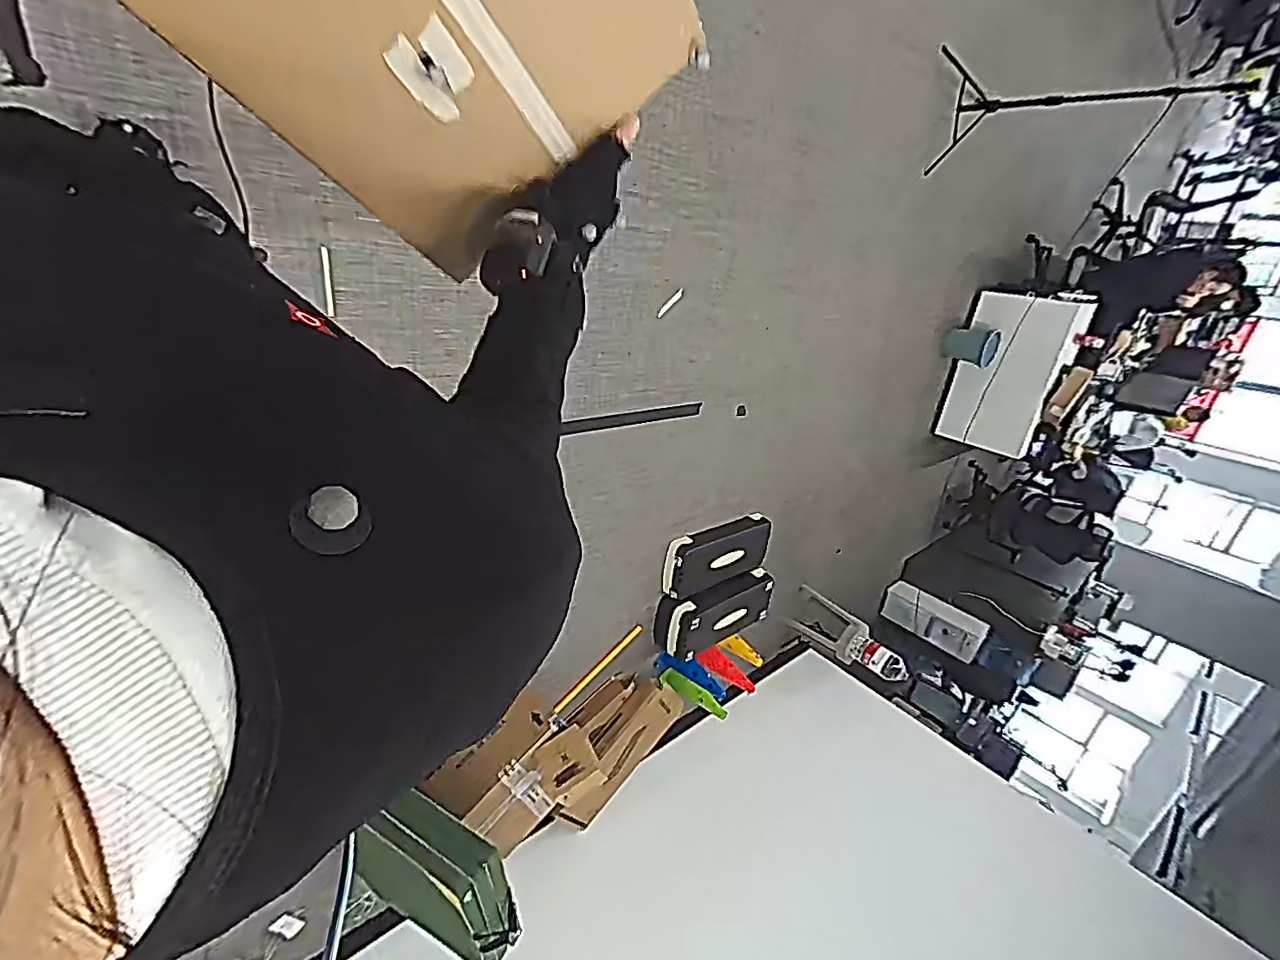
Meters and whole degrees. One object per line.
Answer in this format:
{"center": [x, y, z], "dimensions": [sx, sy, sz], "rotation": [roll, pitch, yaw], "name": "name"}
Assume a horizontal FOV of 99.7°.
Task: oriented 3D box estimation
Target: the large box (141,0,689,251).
{"center": [-0.231, -0.475, 0.401], "dimensions": [0.320, 0.320, 0.408], "rotation": [-40, 151, 11], "name": "large box"}
